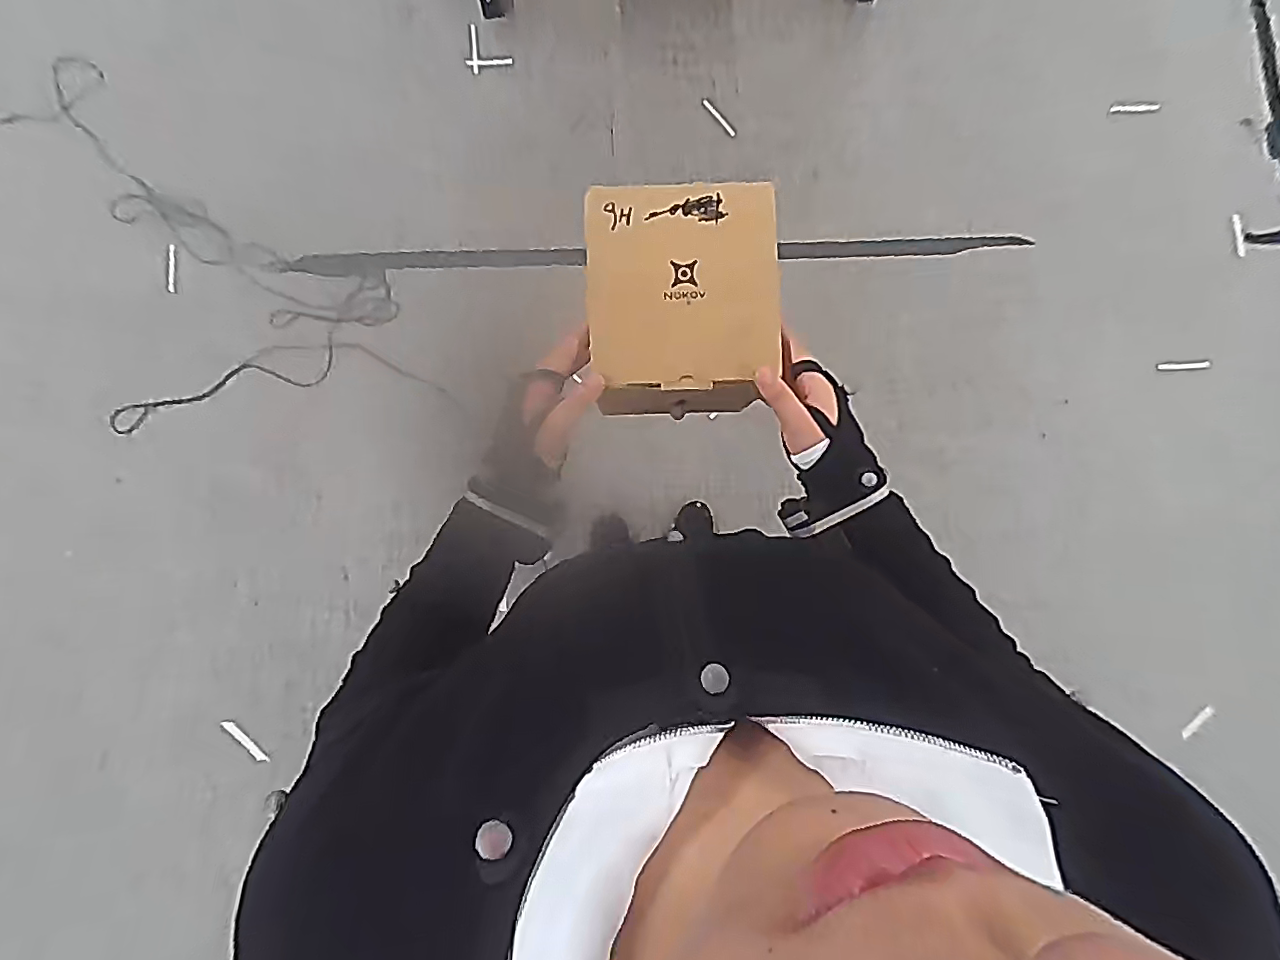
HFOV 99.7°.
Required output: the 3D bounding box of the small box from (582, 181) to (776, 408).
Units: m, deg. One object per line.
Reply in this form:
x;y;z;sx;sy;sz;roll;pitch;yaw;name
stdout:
0.034;-0.168;0.546;0.168;0.176;0.179;-3;89;0;small box
